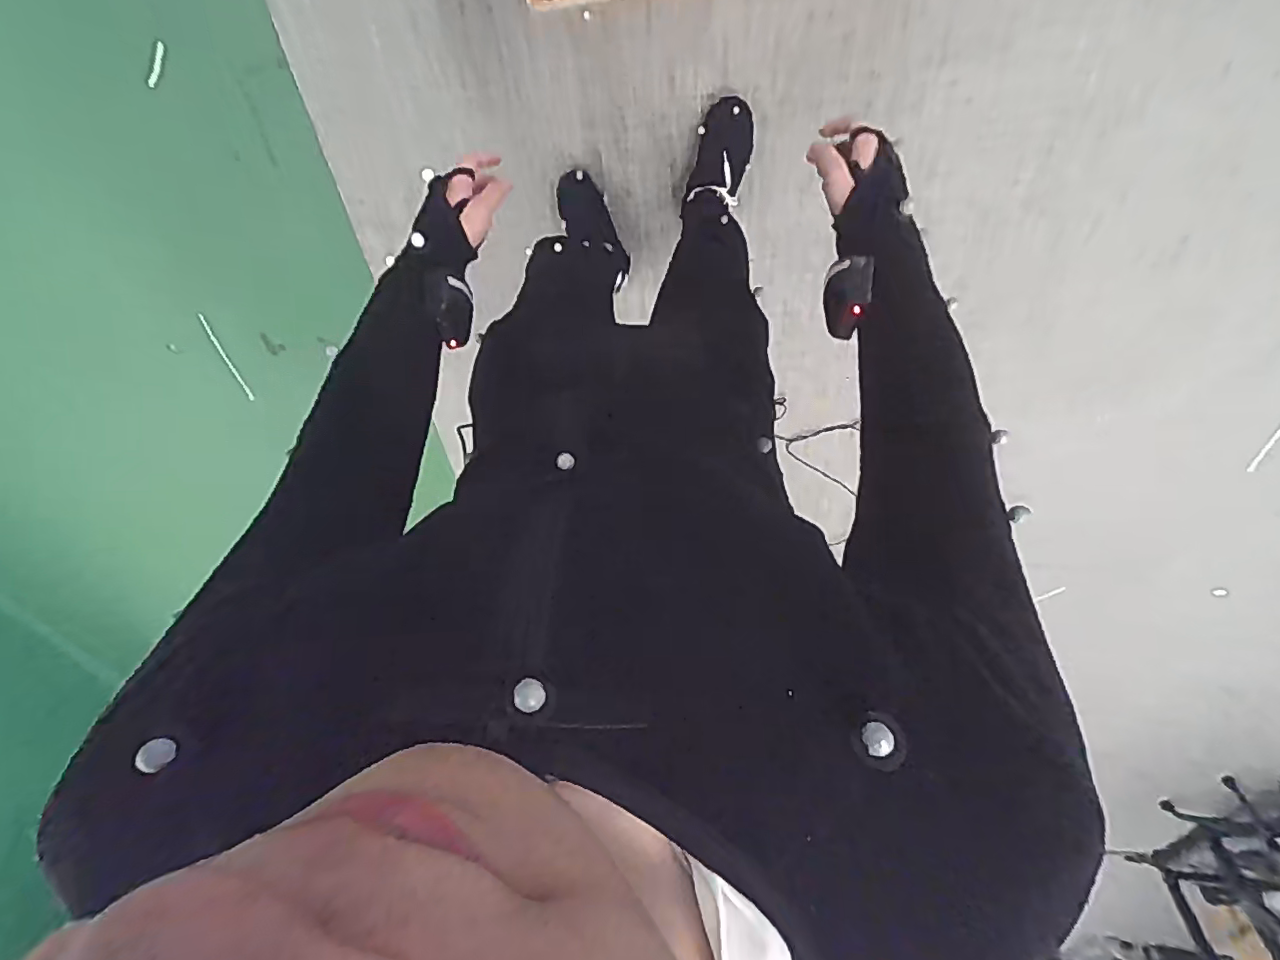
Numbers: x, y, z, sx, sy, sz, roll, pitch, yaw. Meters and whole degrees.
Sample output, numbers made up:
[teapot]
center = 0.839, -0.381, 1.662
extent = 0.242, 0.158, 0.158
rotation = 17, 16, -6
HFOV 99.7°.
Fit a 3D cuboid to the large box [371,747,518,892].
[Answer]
[large box]
center = -0.657, 1.191, 1.901
extent = 0.320, 0.320, 0.408
rotation = 1, 131, 7
